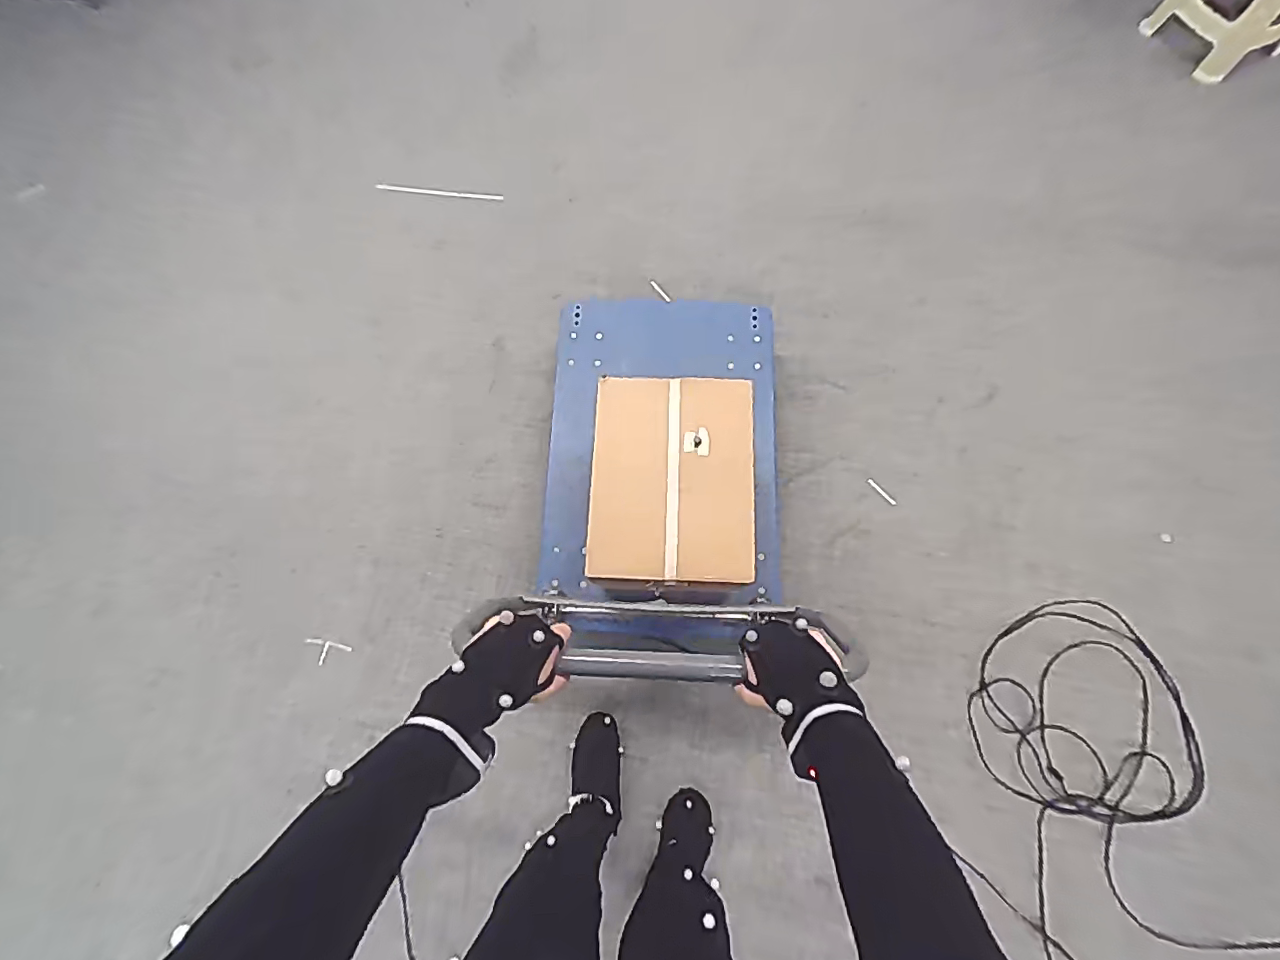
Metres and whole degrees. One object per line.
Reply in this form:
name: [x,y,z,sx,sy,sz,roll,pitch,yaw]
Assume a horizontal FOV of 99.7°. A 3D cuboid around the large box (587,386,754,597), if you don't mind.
large box: [0.065,0.043,1.188,0.320,0.320,0.408,2,74,2]
